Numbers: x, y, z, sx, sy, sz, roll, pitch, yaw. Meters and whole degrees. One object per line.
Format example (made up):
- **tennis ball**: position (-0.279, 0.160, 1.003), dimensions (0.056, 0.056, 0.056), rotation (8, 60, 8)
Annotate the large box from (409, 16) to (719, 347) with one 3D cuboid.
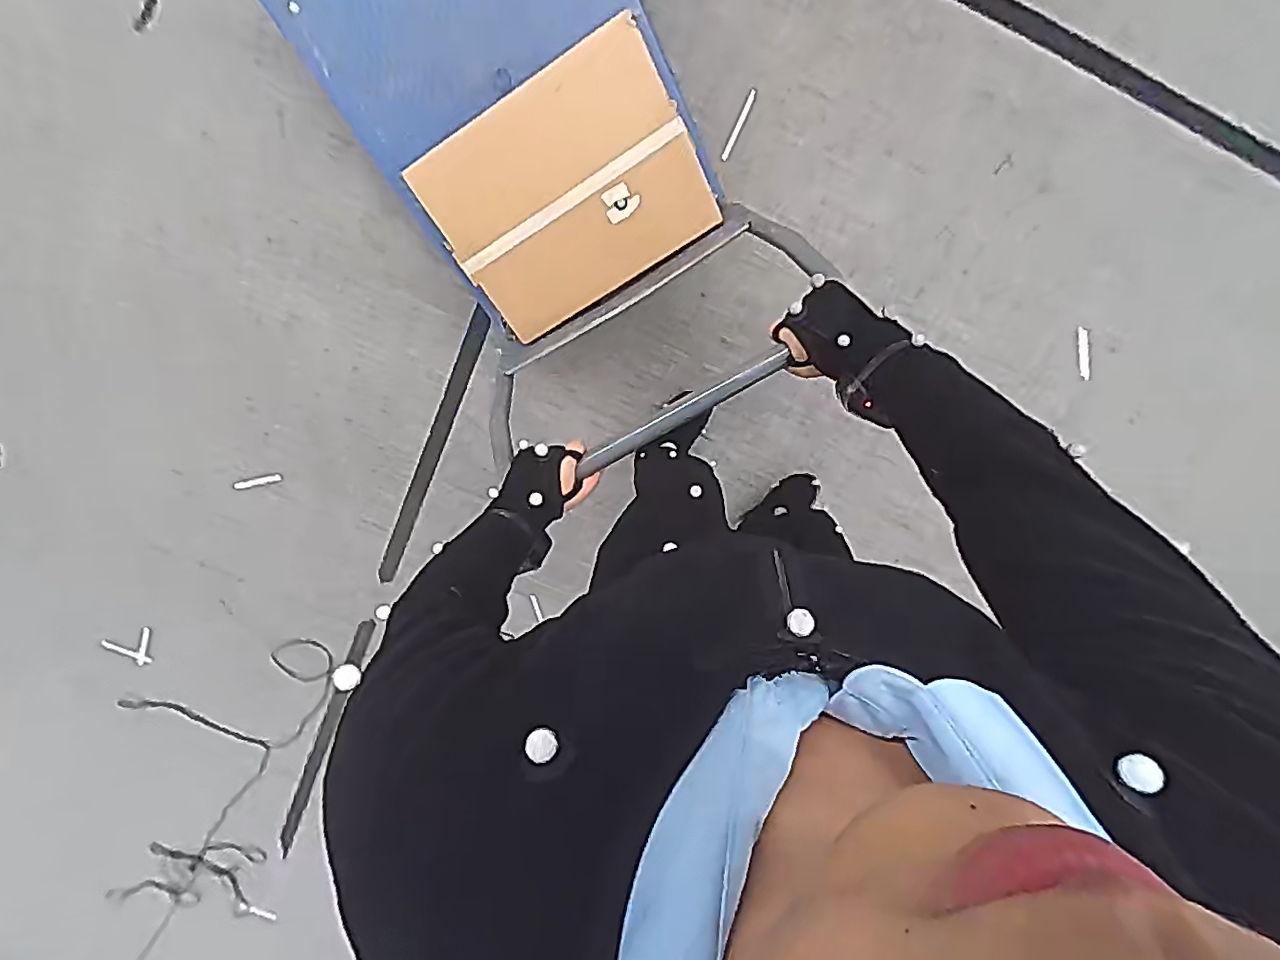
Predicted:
- **large box**: position (-0.129, -0.512, 0.985), dimensions (0.408, 0.320, 0.320), rotation (-30, 120, 9)
